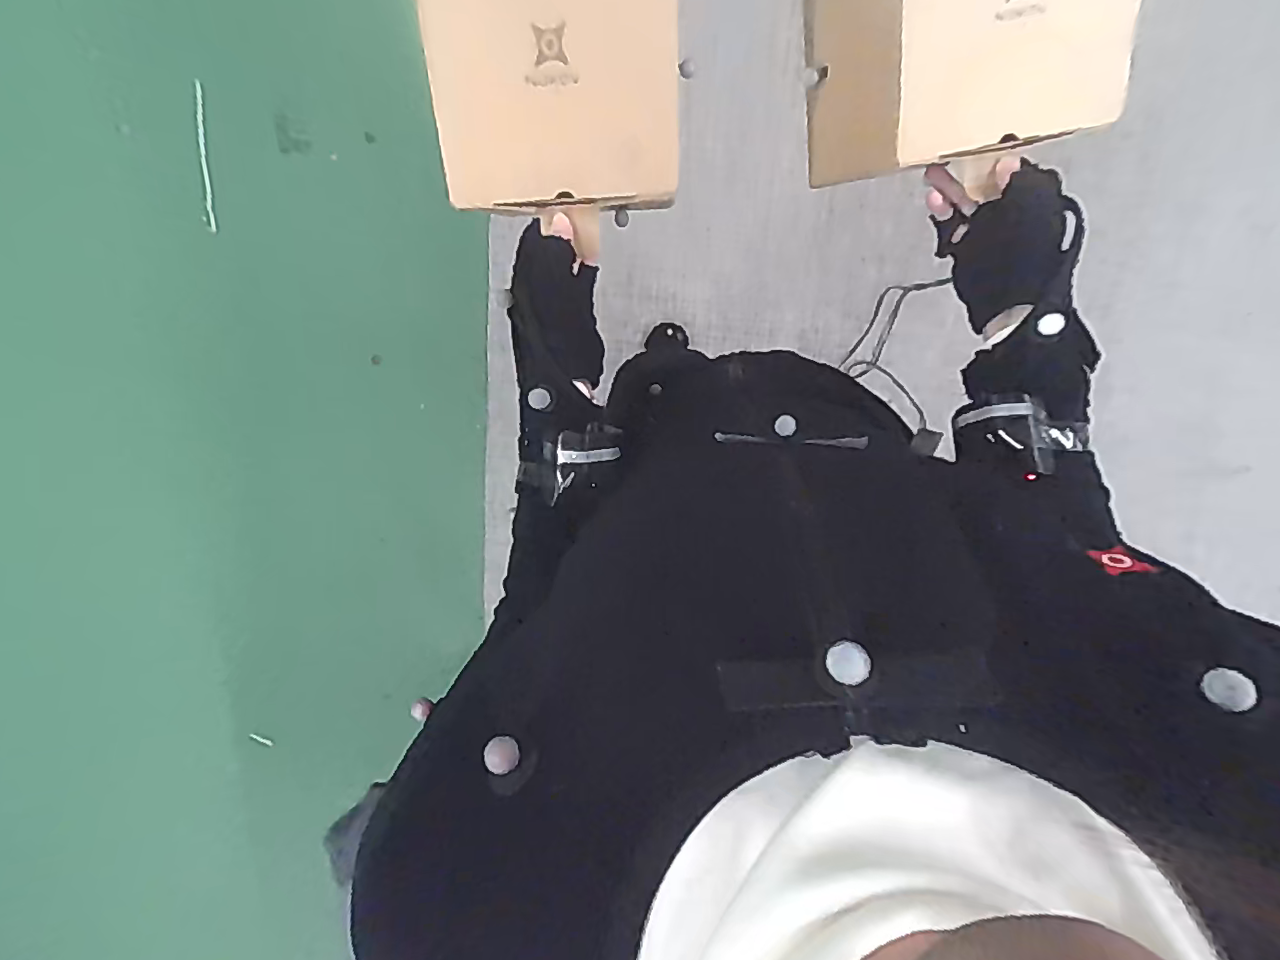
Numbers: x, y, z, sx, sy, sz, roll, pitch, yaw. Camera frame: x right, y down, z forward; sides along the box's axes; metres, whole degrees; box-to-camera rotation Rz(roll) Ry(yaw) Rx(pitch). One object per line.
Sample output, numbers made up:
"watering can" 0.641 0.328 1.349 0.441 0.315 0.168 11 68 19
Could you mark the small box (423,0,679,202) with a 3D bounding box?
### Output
"small box" -0.054 -0.319 0.423 0.168 0.176 0.179 -2 114 1
